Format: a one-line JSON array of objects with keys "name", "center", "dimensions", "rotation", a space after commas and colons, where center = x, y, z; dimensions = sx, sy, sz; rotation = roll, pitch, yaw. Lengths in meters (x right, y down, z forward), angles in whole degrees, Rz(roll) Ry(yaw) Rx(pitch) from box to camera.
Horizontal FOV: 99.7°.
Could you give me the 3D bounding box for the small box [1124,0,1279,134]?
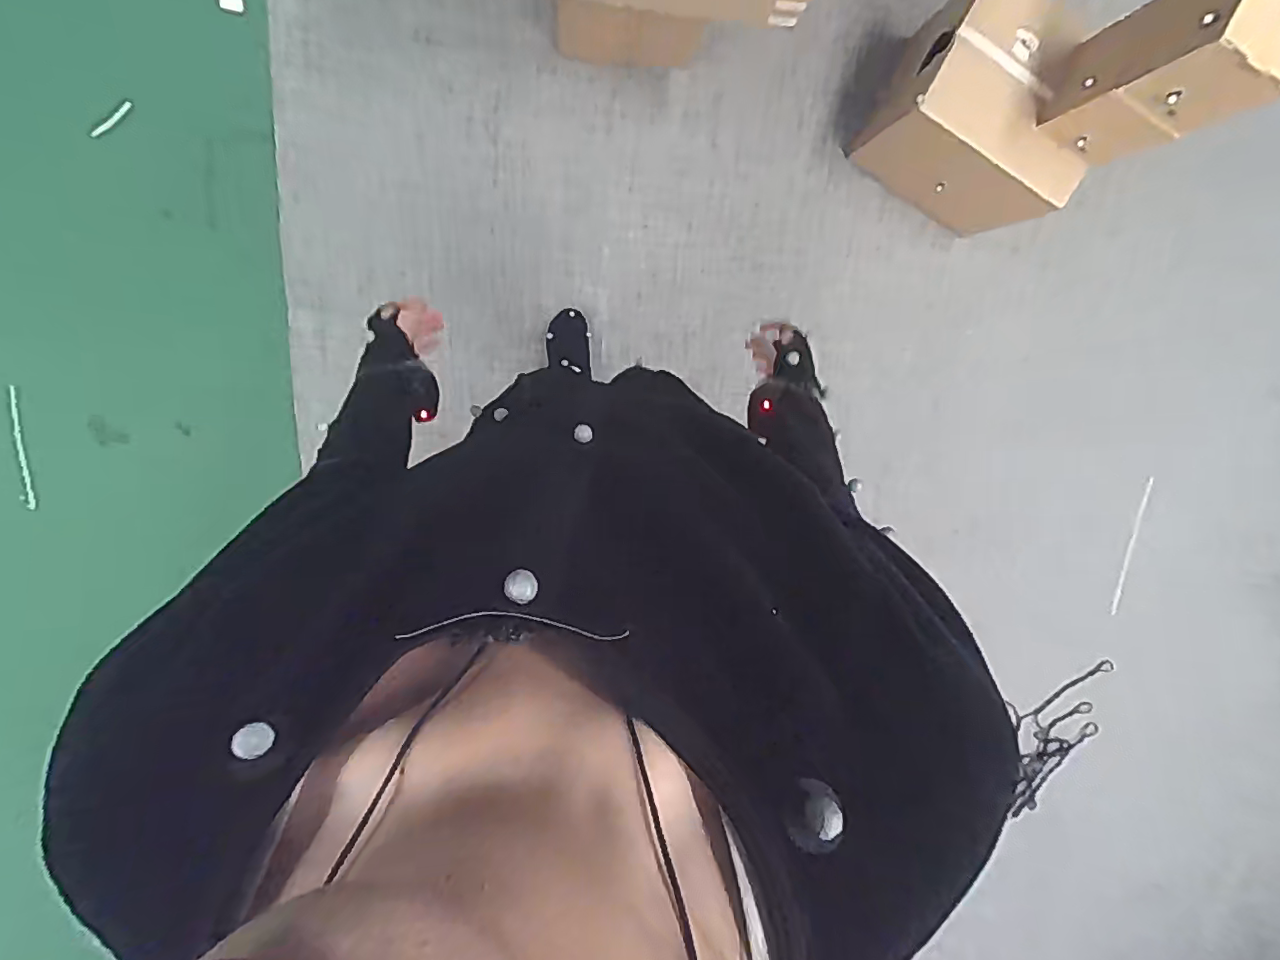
[{"name": "small box", "center": [0.954, -0.711, 0.874], "dimensions": [0.168, 0.176, 0.179], "rotation": [22, 100, -10]}]
